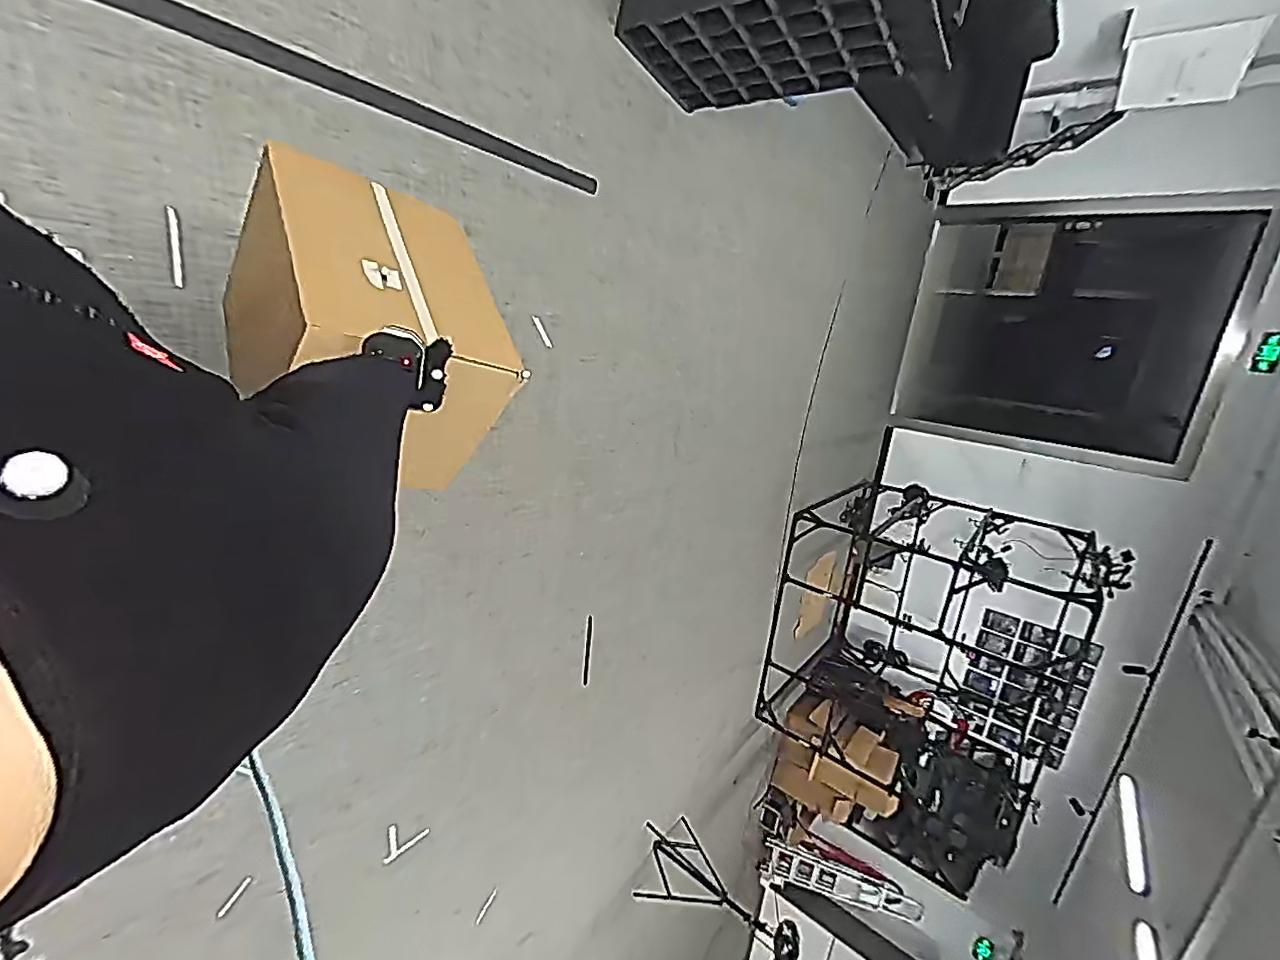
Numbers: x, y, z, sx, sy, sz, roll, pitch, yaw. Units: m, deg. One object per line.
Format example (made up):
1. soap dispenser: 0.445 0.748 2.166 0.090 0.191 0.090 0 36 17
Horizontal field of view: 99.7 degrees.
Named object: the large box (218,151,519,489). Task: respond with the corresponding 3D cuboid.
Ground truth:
1. large box: -0.471 -0.238 0.913 0.320 0.408 0.320 4 142 -49
